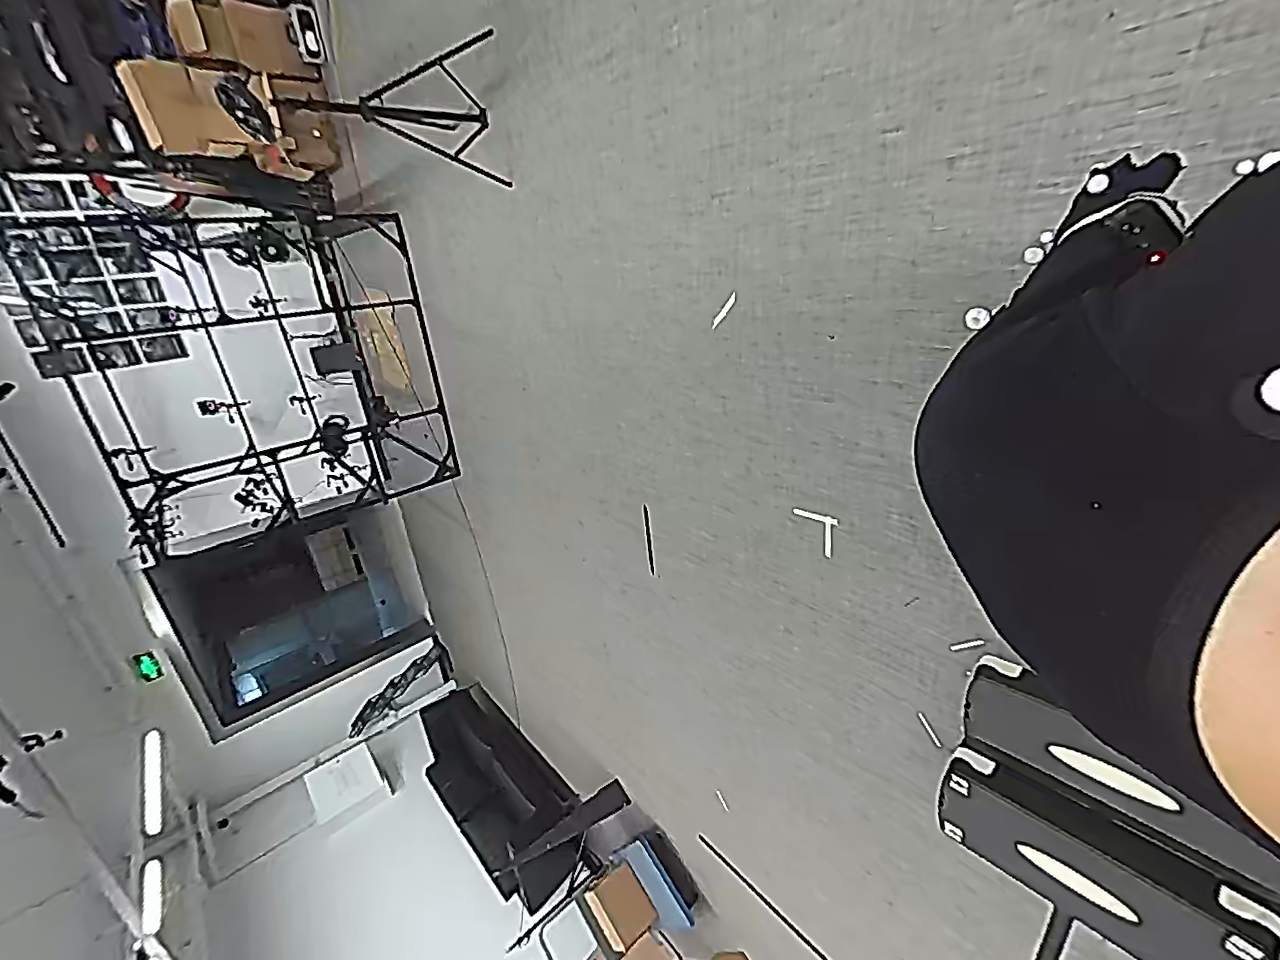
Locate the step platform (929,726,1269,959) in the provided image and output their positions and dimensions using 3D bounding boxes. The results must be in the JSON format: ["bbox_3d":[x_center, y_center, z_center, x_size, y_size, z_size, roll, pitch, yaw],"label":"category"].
[{"bbox_3d":[1.164,0.989,1.460,0.684,0.204,0.286,19,123,48],"label":"step platform"}]
